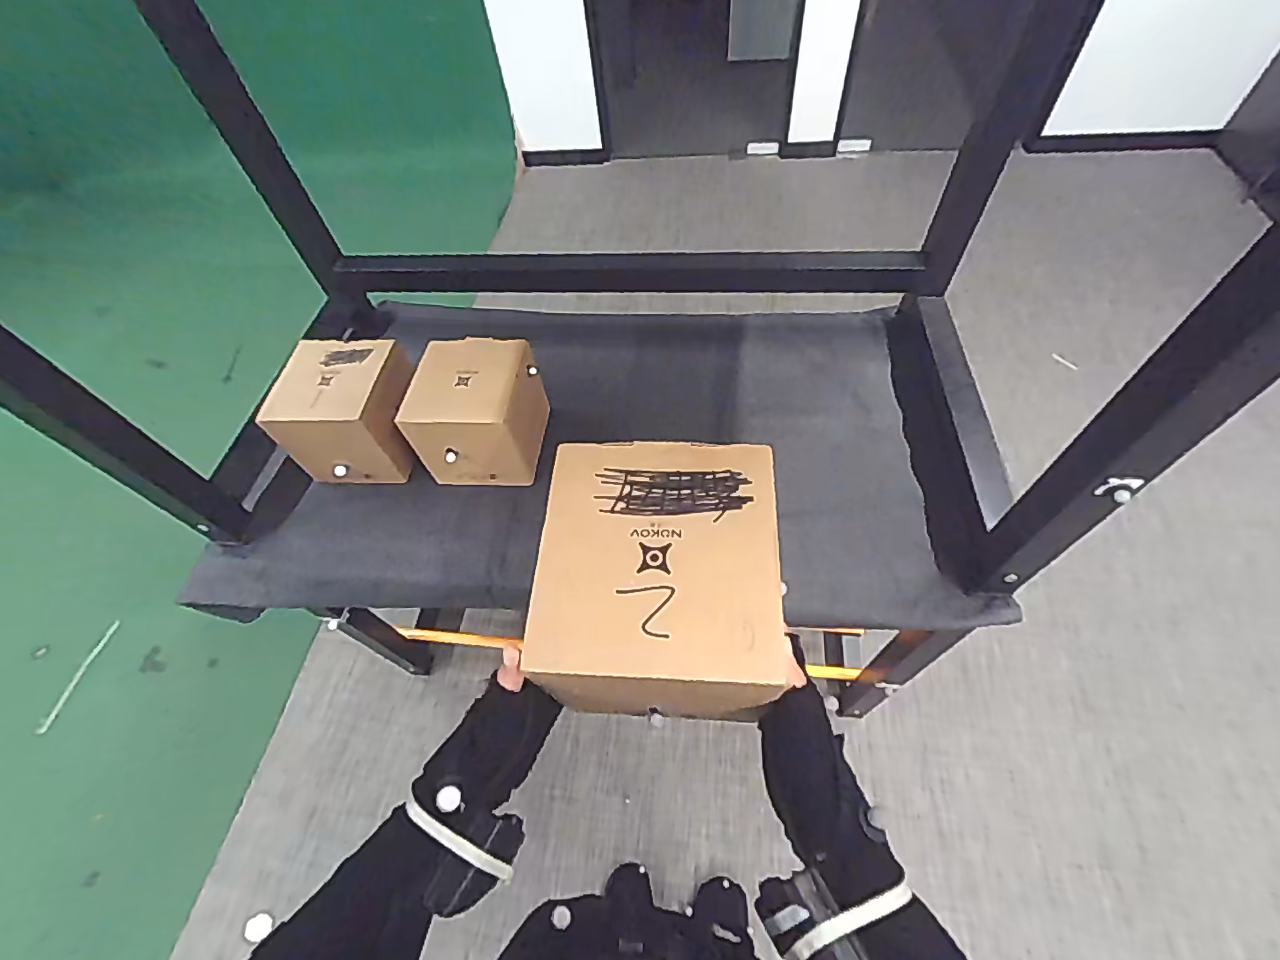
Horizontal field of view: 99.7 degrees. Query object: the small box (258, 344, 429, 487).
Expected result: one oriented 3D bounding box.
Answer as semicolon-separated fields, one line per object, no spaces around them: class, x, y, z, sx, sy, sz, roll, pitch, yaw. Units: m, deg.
small box;-0.478;-0.108;0.908;0.168;0.176;0.179;0;56;6
